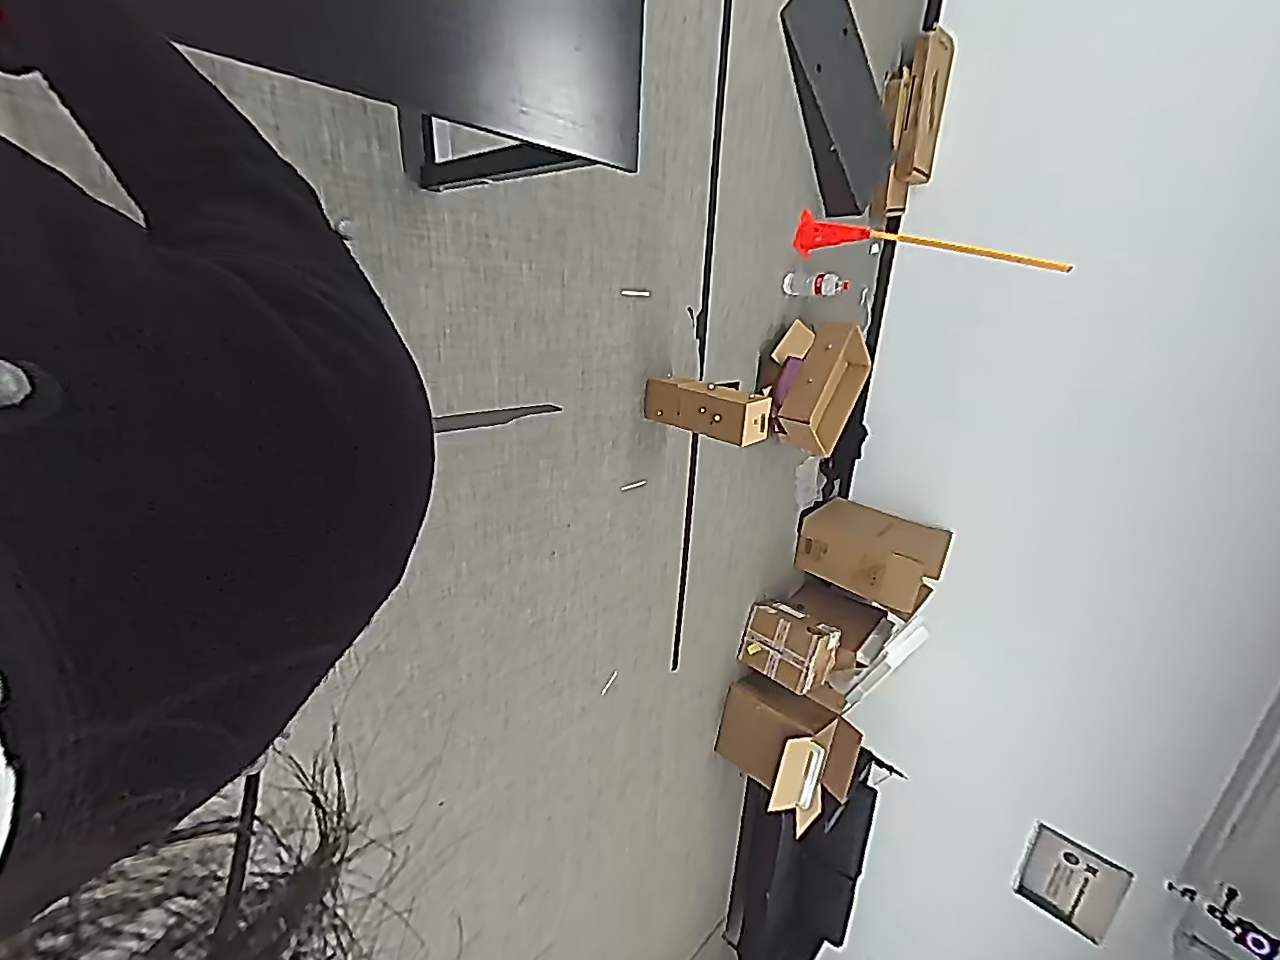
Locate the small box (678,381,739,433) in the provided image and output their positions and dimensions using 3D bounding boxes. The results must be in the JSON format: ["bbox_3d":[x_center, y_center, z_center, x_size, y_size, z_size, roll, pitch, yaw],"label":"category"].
[{"bbox_3d":[0.275,-0.298,2.167,0.179,0.176,0.168,-20,120,-44],"label":"small box"}]

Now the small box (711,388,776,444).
[{"bbox_3d":[0.394,-0.249,2.064,0.179,0.176,0.168,-19,119,-42],"label":"small box"}]

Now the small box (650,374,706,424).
[{"bbox_3d":[0.157,-0.344,2.272,0.168,0.176,0.179,-18,117,-44],"label":"small box"}]
